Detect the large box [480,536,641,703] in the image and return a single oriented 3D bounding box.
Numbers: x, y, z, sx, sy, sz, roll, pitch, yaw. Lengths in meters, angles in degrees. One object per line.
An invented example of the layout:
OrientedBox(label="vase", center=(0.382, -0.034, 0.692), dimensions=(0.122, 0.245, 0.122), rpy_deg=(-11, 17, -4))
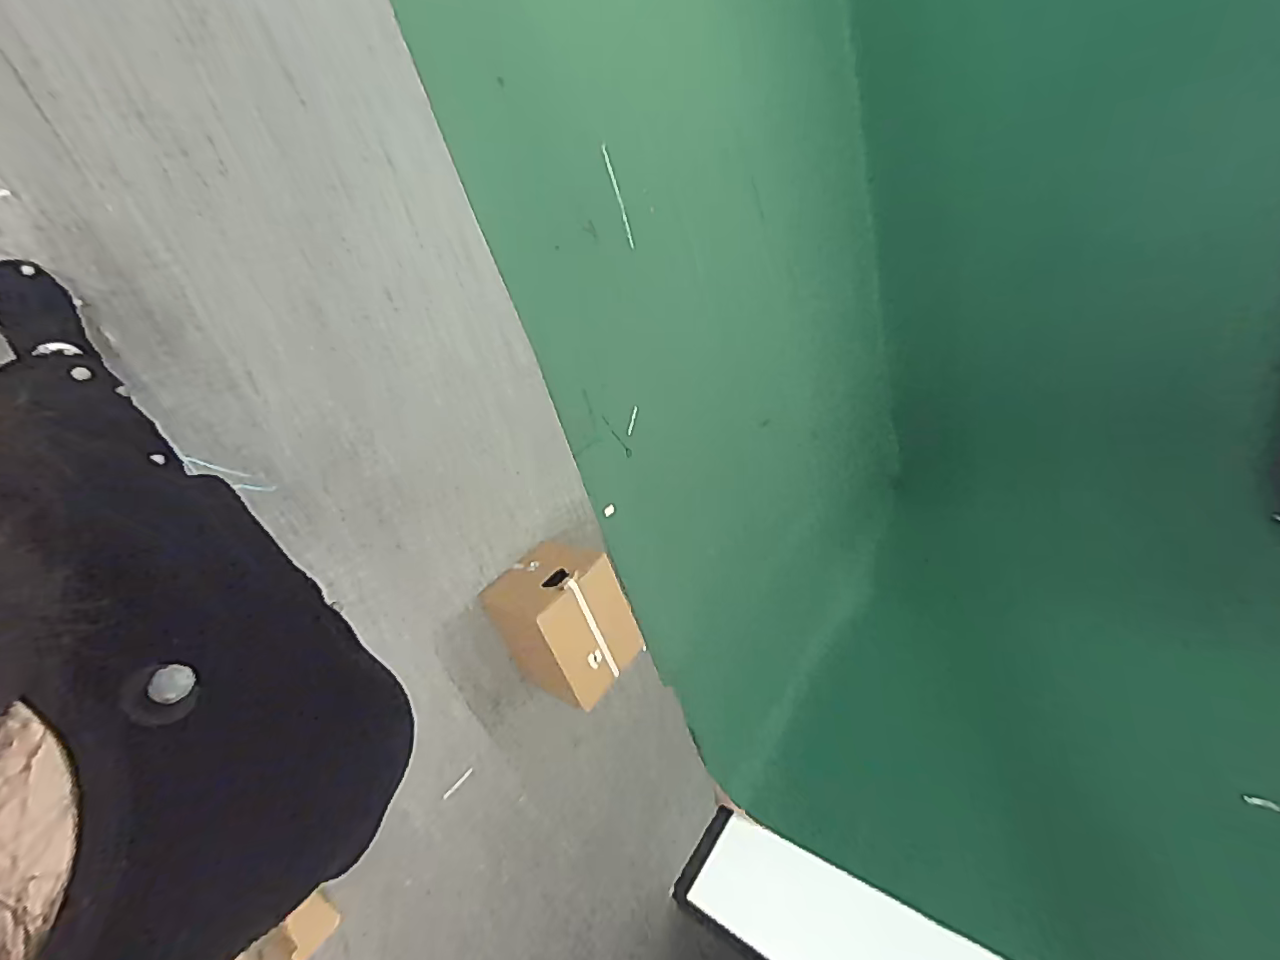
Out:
OrientedBox(label="large box", center=(-0.257, 0.448, 1.800), dimensions=(0.320, 0.320, 0.408), rpy_deg=(-41, 123, -37))
